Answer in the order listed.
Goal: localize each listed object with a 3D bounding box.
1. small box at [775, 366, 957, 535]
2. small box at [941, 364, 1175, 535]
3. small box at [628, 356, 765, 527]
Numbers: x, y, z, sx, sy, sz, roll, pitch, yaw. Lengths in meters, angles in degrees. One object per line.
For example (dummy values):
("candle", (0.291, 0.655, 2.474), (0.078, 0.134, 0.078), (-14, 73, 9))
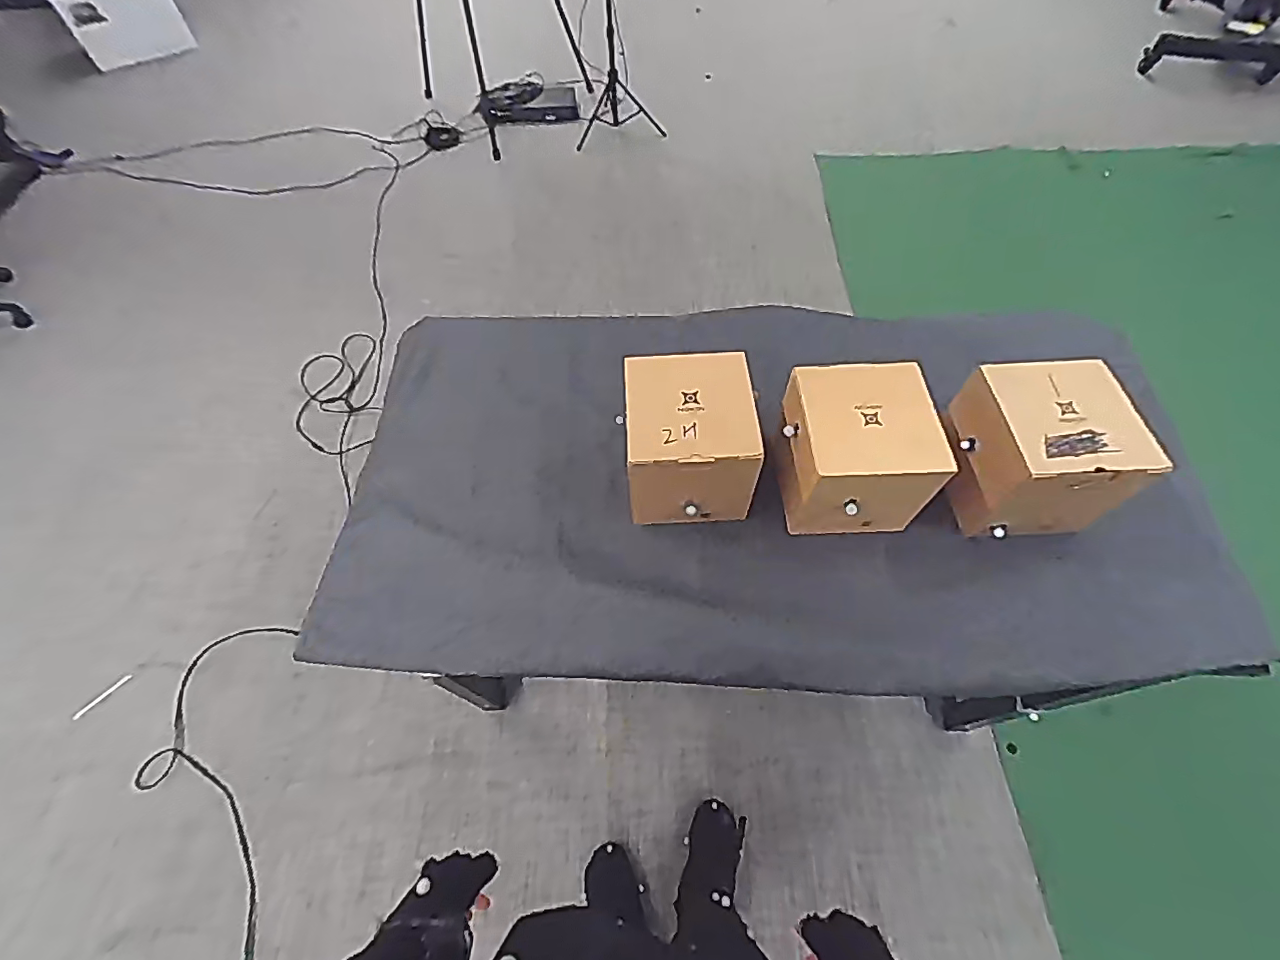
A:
("small box", (0.290, -0.032, 0.738), (0.168, 0.176, 0.179), (-2, 58, 1))
("small box", (0.530, -0.033, 0.728), (0.168, 0.176, 0.179), (-2, 58, 1))
("small box", (0.067, -0.050, 0.755), (0.168, 0.176, 0.179), (-2, 58, 0))
